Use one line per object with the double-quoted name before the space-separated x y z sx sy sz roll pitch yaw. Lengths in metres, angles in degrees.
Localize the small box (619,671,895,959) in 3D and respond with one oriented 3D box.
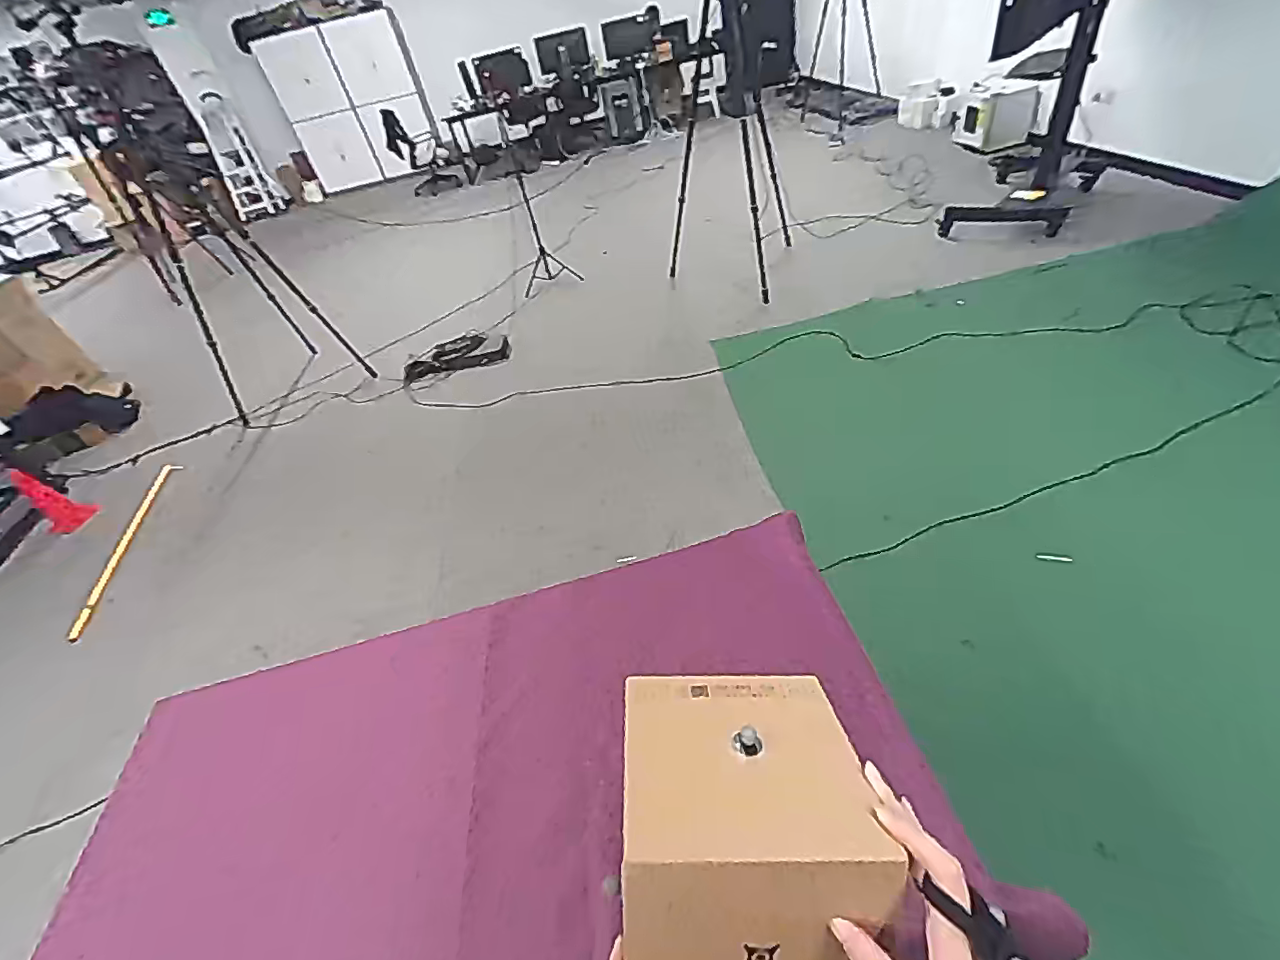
"small box" 0.068 0.268 0.418 0.168 0.179 0.176 1 18 -1
